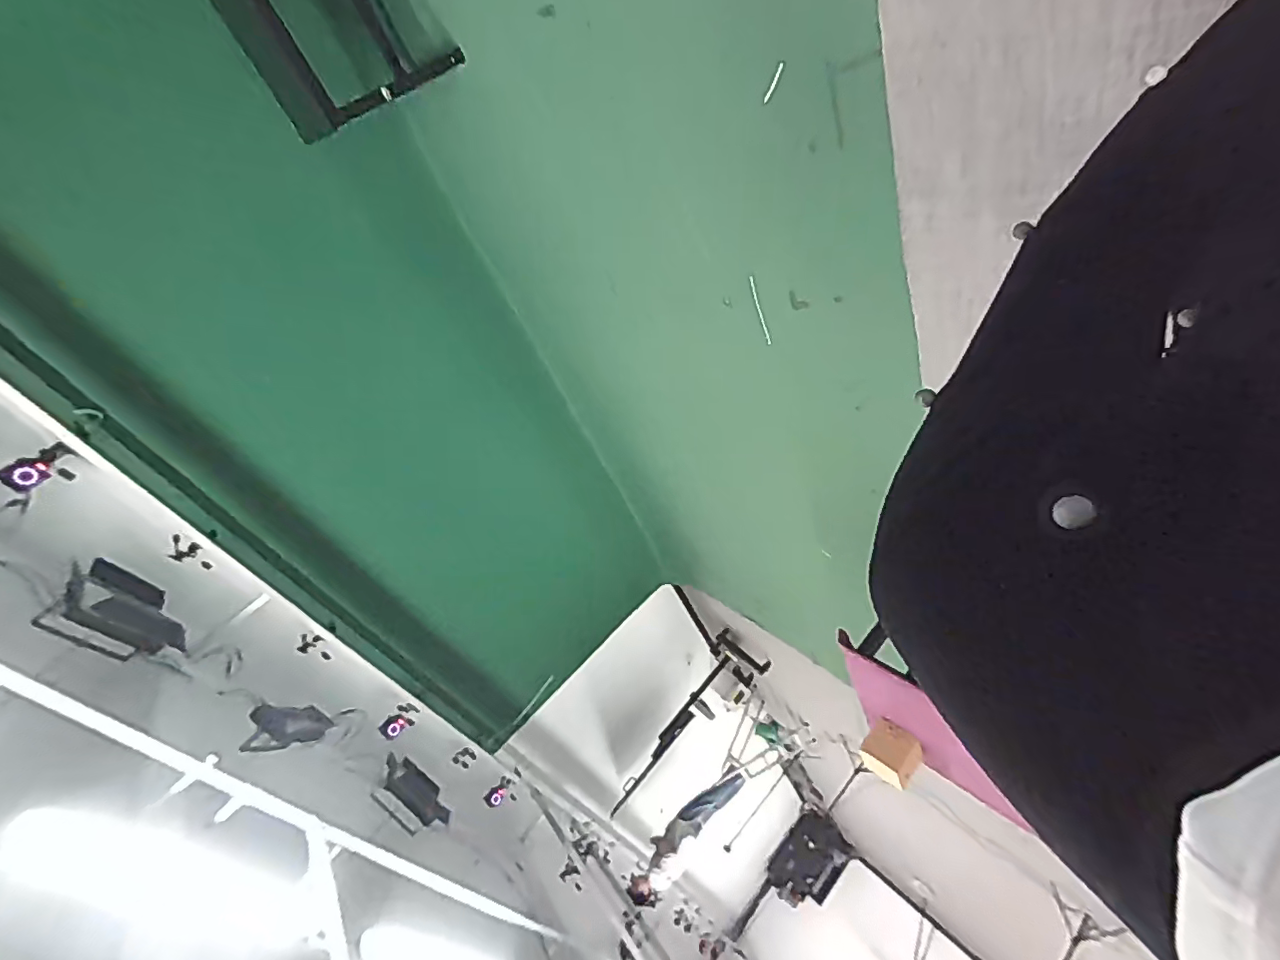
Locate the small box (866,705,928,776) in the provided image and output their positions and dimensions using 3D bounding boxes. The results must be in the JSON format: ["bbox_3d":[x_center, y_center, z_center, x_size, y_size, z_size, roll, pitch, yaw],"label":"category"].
[{"bbox_3d":[1.080,1.084,2.260,0.168,0.176,0.179,21,148,49],"label":"small box"}]
